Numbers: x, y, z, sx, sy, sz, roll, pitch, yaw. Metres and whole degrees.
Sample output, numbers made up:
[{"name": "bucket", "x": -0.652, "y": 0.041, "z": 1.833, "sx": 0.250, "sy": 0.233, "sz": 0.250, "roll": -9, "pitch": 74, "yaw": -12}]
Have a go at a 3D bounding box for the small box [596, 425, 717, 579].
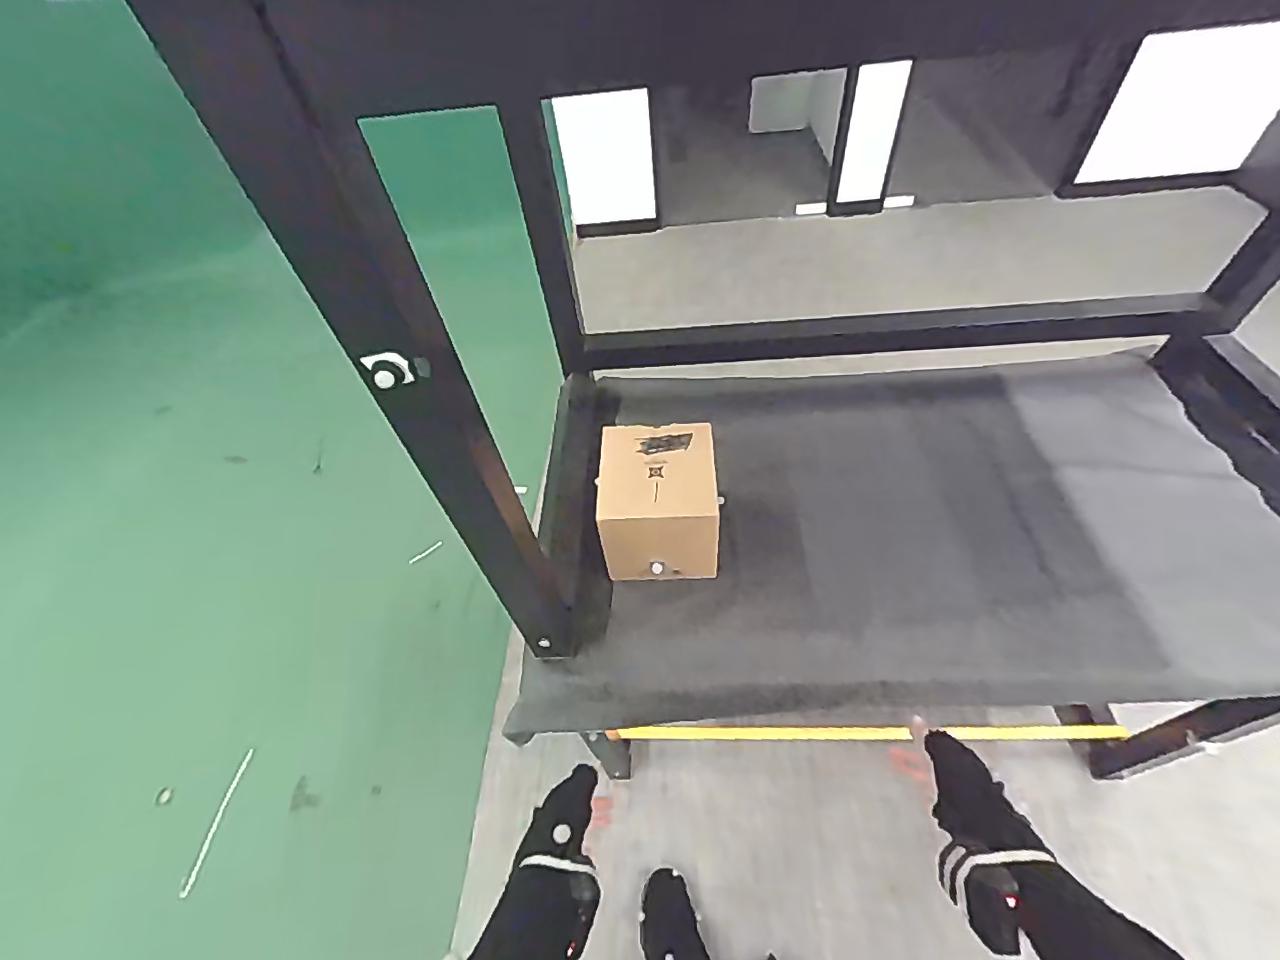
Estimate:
[{"name": "small box", "x": 0.029, "y": 0.036, "z": 0.836, "sx": 0.168, "sy": 0.176, "sz": 0.179, "roll": -2, "pitch": 51, "yaw": 5}]
